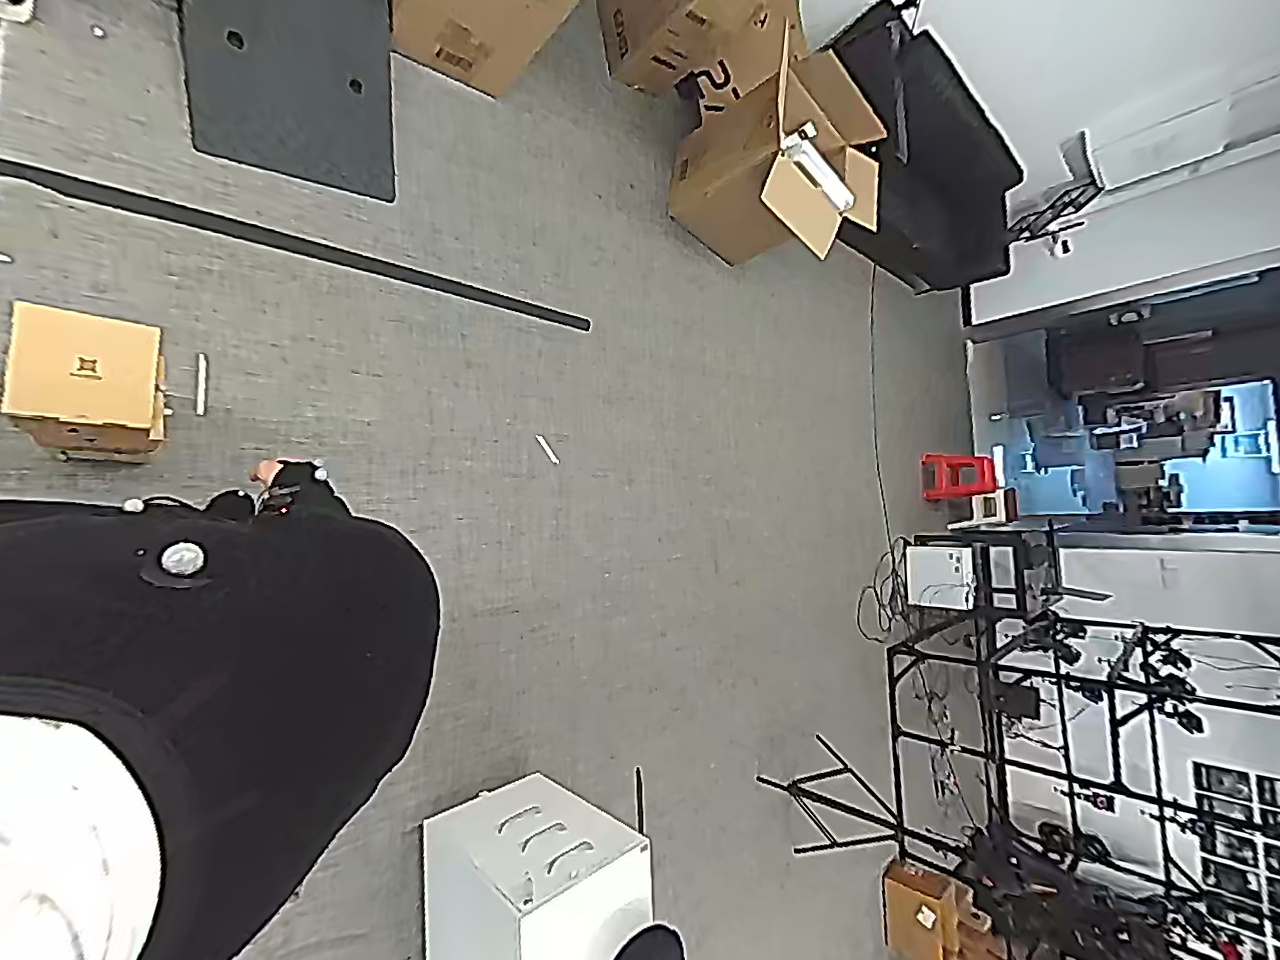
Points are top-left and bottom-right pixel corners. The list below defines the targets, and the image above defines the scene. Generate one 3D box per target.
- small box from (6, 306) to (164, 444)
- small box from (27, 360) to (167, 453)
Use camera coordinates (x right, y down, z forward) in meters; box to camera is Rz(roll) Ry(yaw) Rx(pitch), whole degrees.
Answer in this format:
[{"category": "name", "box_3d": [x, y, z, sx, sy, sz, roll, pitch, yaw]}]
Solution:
[{"category": "small box", "box_3d": [-0.919, -0.163, 0.905, 0.168, 0.176, 0.179, 5, 83, -44]}, {"category": "small box", "box_3d": [-1.023, -0.144, 1.028, 0.179, 0.176, 0.168, 2, 84, -44]}]
